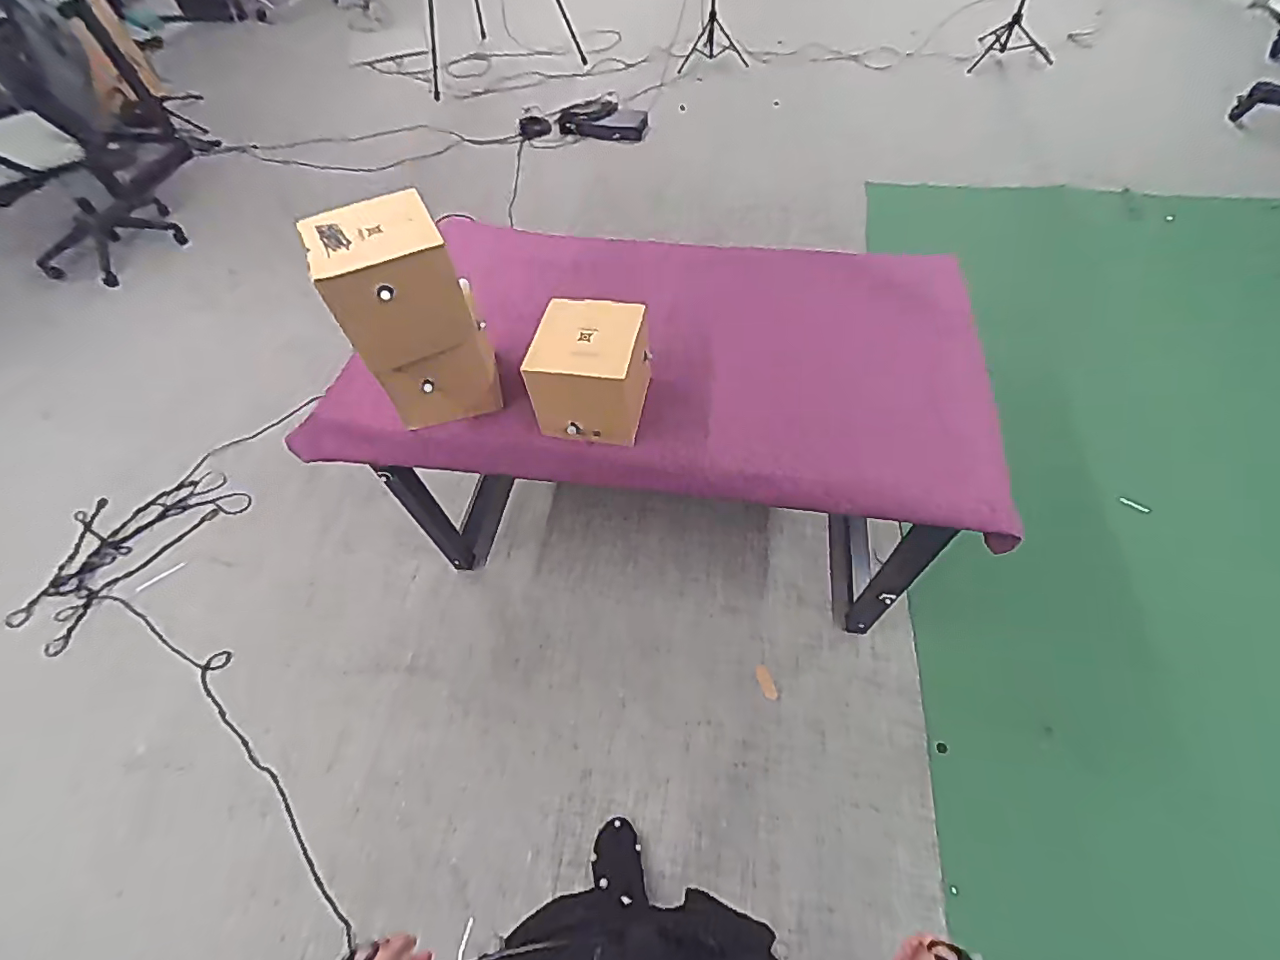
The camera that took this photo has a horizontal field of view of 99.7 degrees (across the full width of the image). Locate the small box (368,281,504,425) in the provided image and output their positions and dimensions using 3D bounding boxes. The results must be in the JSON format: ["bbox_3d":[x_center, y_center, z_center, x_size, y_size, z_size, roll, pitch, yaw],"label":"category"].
[{"bbox_3d":[-0.356,-0.219,0.960,0.179,0.176,0.168,-14,57,-6],"label":"small box"}]

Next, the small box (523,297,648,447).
[{"bbox_3d":[-0.080,-0.182,0.921,0.168,0.176,0.179,7,56,9],"label":"small box"}]

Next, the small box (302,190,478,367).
[{"bbox_3d":[-0.368,-0.298,0.816,0.179,0.176,0.168,-23,58,-13],"label":"small box"}]
